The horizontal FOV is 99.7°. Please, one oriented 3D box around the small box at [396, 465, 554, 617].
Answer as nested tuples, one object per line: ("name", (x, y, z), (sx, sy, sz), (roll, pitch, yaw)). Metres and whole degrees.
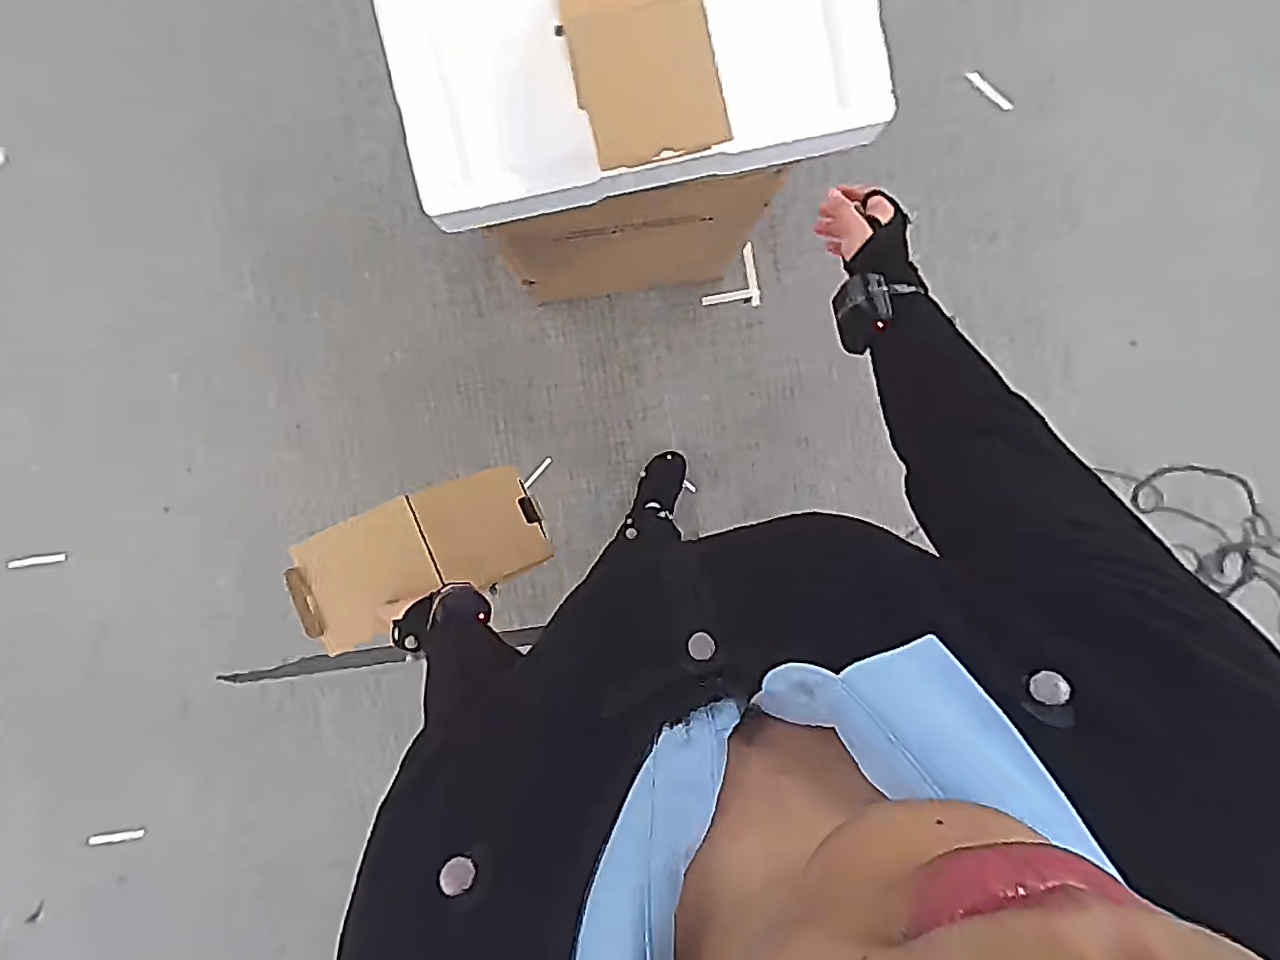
("small box", (-0.271, 0.100, 0.858), (0.179, 0.176, 0.168), (-21, 81, -37))
